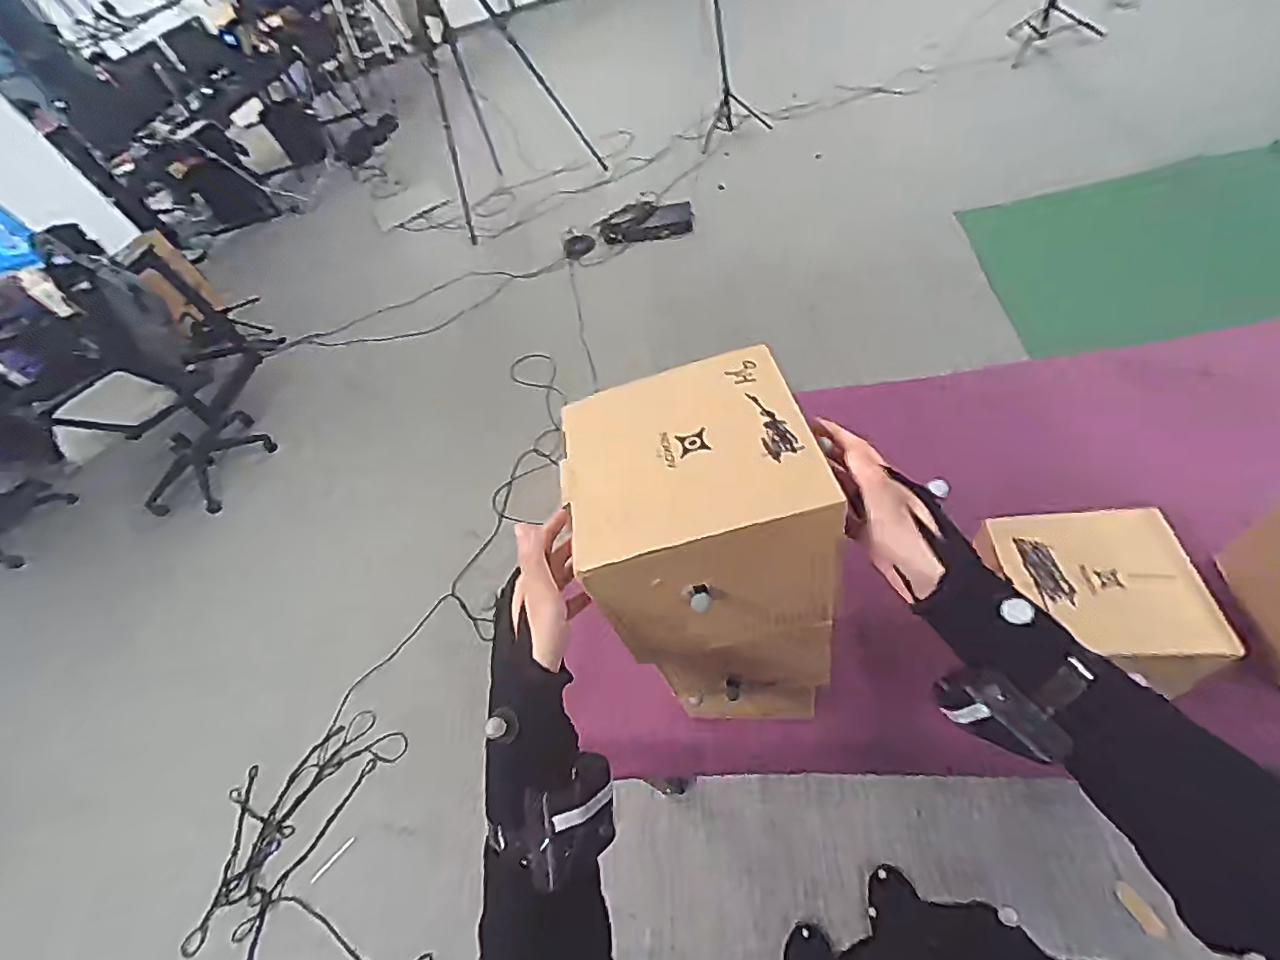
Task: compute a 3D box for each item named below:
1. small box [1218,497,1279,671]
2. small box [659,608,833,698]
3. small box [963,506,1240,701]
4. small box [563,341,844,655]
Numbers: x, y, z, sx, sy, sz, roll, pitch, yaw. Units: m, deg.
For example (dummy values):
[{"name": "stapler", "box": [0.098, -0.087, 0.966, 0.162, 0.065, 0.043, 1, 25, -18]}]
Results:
[{"name": "small box", "box": [0.780, 0.116, 0.561, 0.168, 0.176, 0.179, -2, 53, 17]}, {"name": "small box", "box": [0.097, 0.111, 0.570, 0.168, 0.176, 0.179, -10, 51, 10]}, {"name": "small box", "box": [0.497, 0.148, 0.626, 0.179, 0.176, 0.168, -5, 52, 13]}, {"name": "small box", "box": [0.052, 0.023, 0.440, 0.179, 0.176, 0.168, -16, 50, 6]}]
